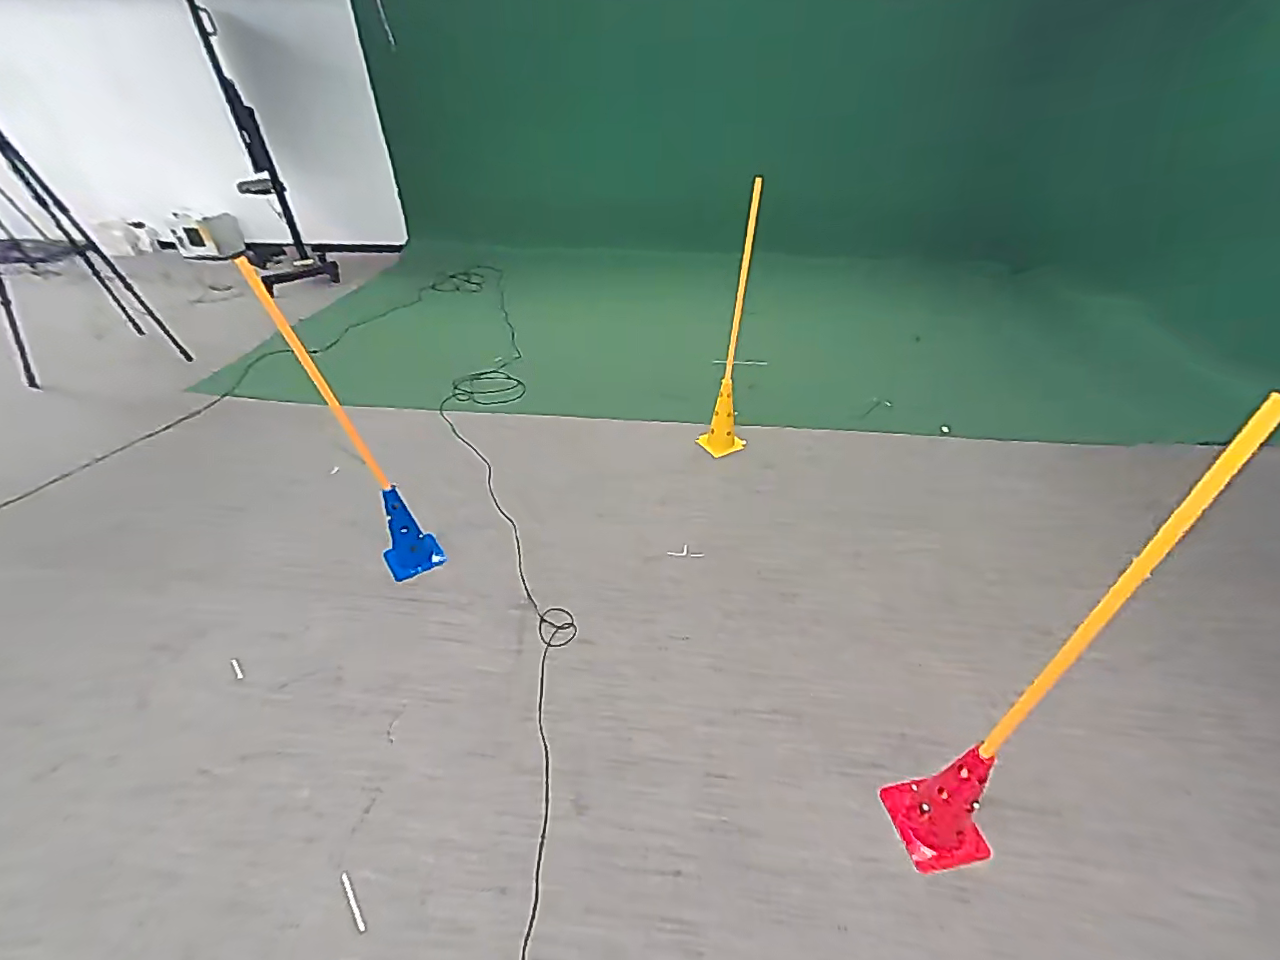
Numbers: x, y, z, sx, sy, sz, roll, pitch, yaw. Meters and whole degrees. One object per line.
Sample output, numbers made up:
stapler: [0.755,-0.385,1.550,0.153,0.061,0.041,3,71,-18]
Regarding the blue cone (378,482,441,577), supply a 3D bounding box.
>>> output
blue cone: [-0.896,0.168,2.015,0.193,0.380,0.192,-27,46,-27]
